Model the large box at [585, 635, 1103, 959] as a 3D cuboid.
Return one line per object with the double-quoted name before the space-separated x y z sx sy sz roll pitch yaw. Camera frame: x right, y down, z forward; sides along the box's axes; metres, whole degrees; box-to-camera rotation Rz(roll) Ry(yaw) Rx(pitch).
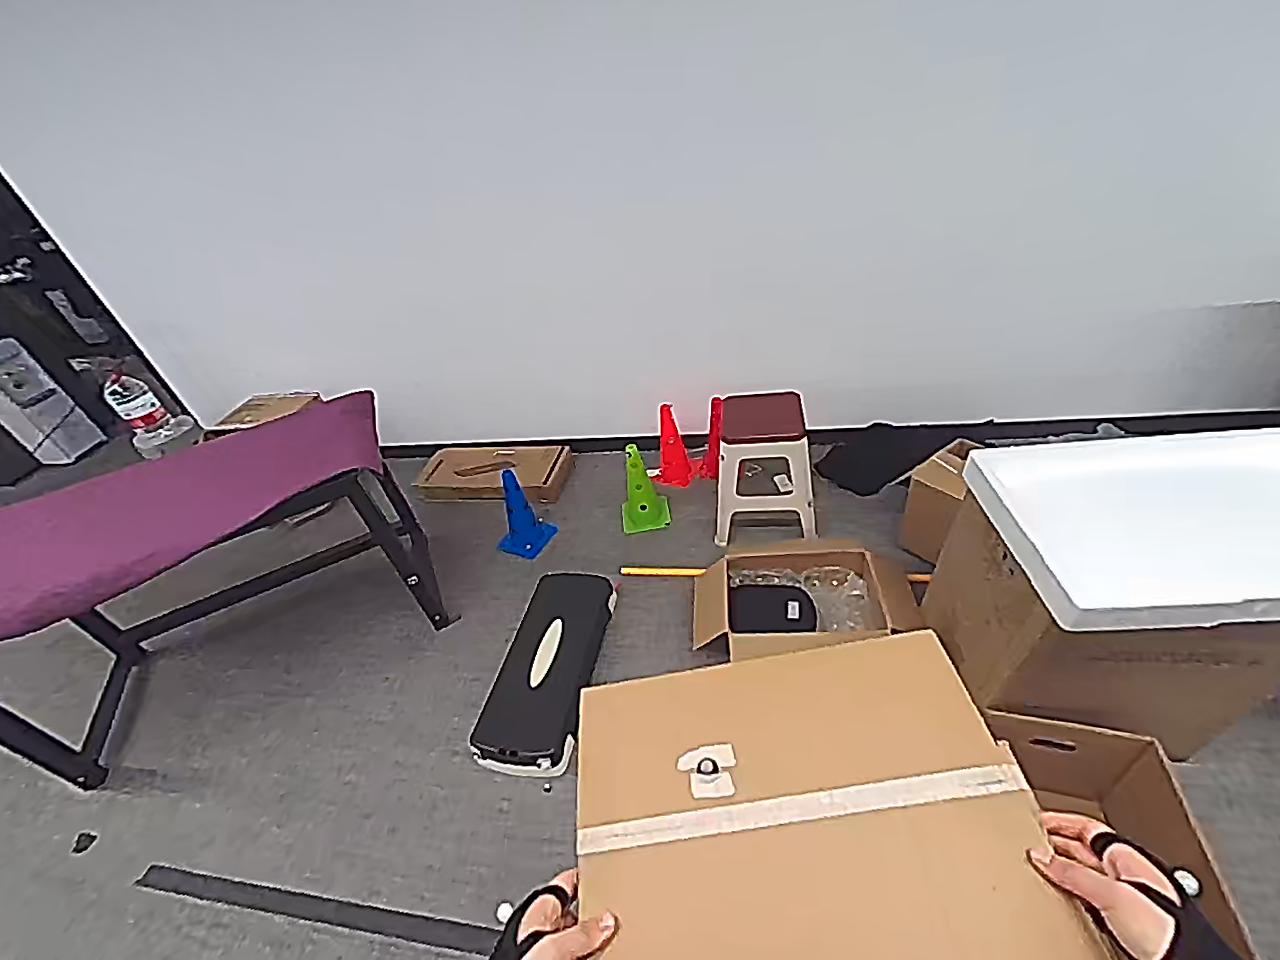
"large box" 0.176 0.424 0.605 0.408 0.320 0.320 -13 40 6
